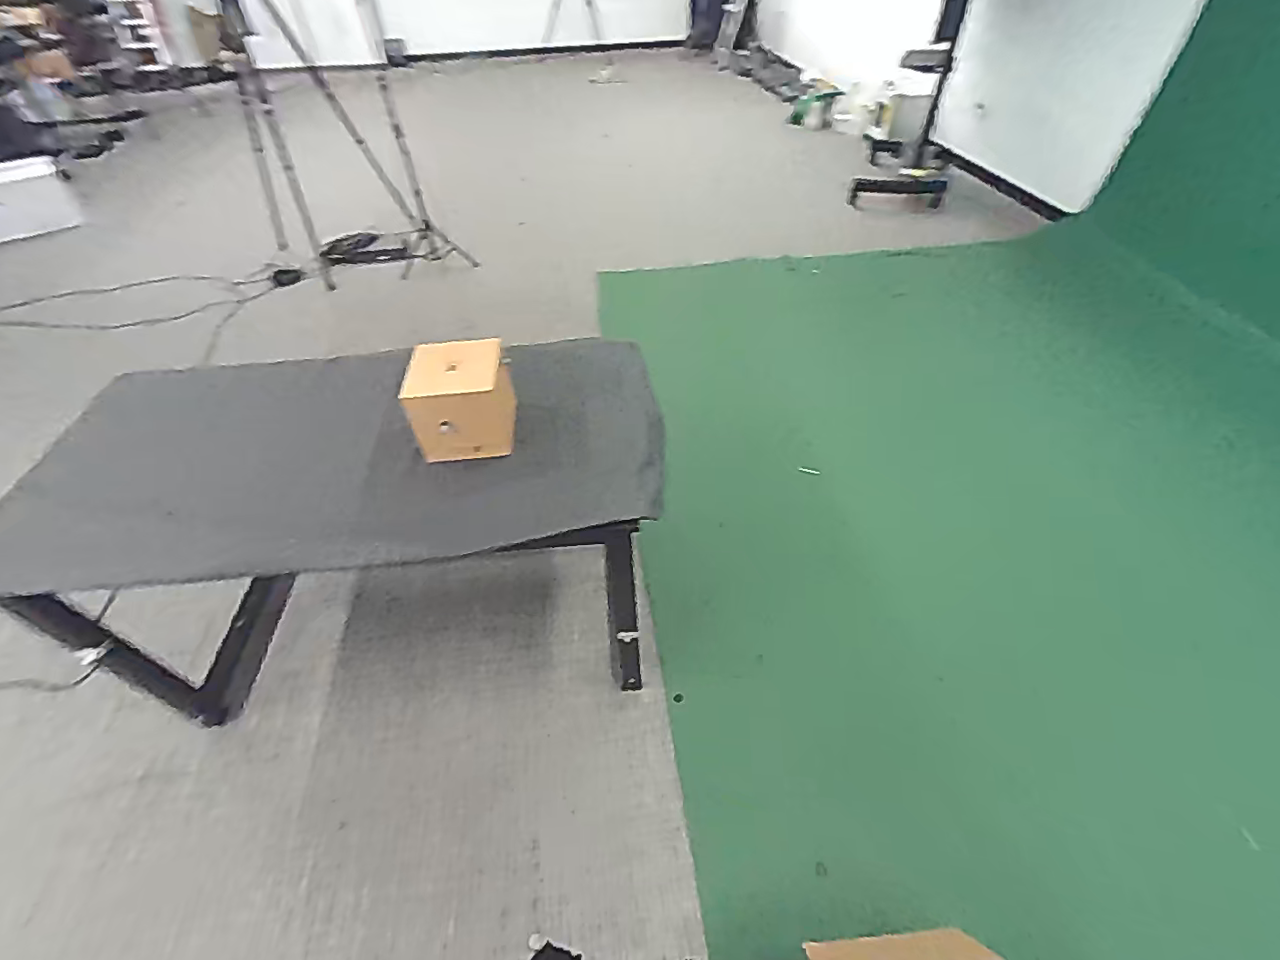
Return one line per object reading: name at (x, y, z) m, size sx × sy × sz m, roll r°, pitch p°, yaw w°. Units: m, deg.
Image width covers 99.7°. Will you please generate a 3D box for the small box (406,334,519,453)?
small box at (-0.341, -0.166, 1.076) m, size 0.168 × 0.176 × 0.179 m, roll -6°, pitch 46°, yaw -3°
